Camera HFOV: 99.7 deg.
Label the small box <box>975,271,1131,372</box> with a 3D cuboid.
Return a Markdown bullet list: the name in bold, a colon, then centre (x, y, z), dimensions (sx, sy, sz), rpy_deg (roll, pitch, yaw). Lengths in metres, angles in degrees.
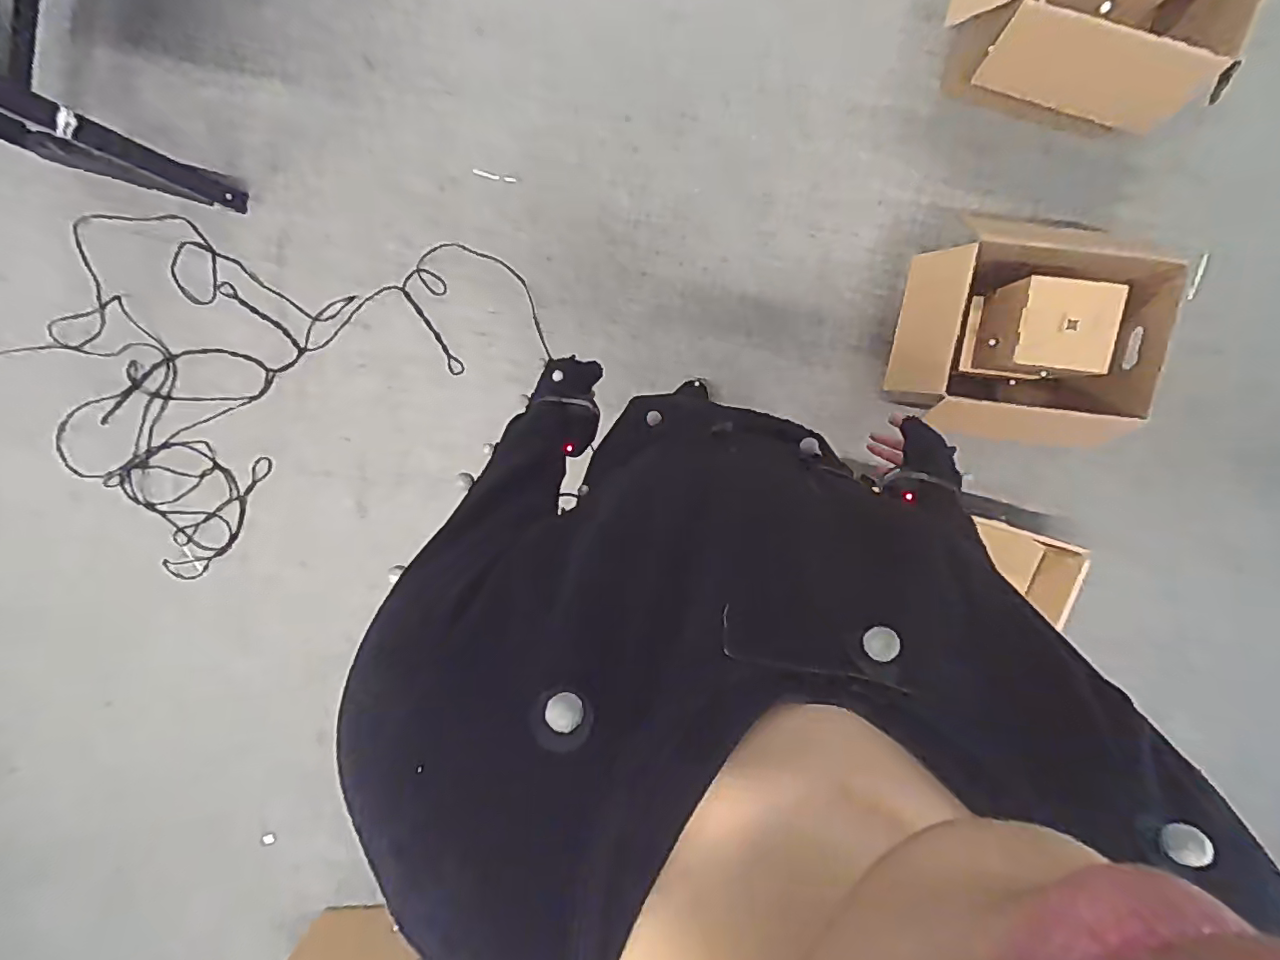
- **small box**: centre (0.822, -0.312, 1.098), dimensions (0.179, 0.176, 0.168), rpy_deg (8, 99, 4)
